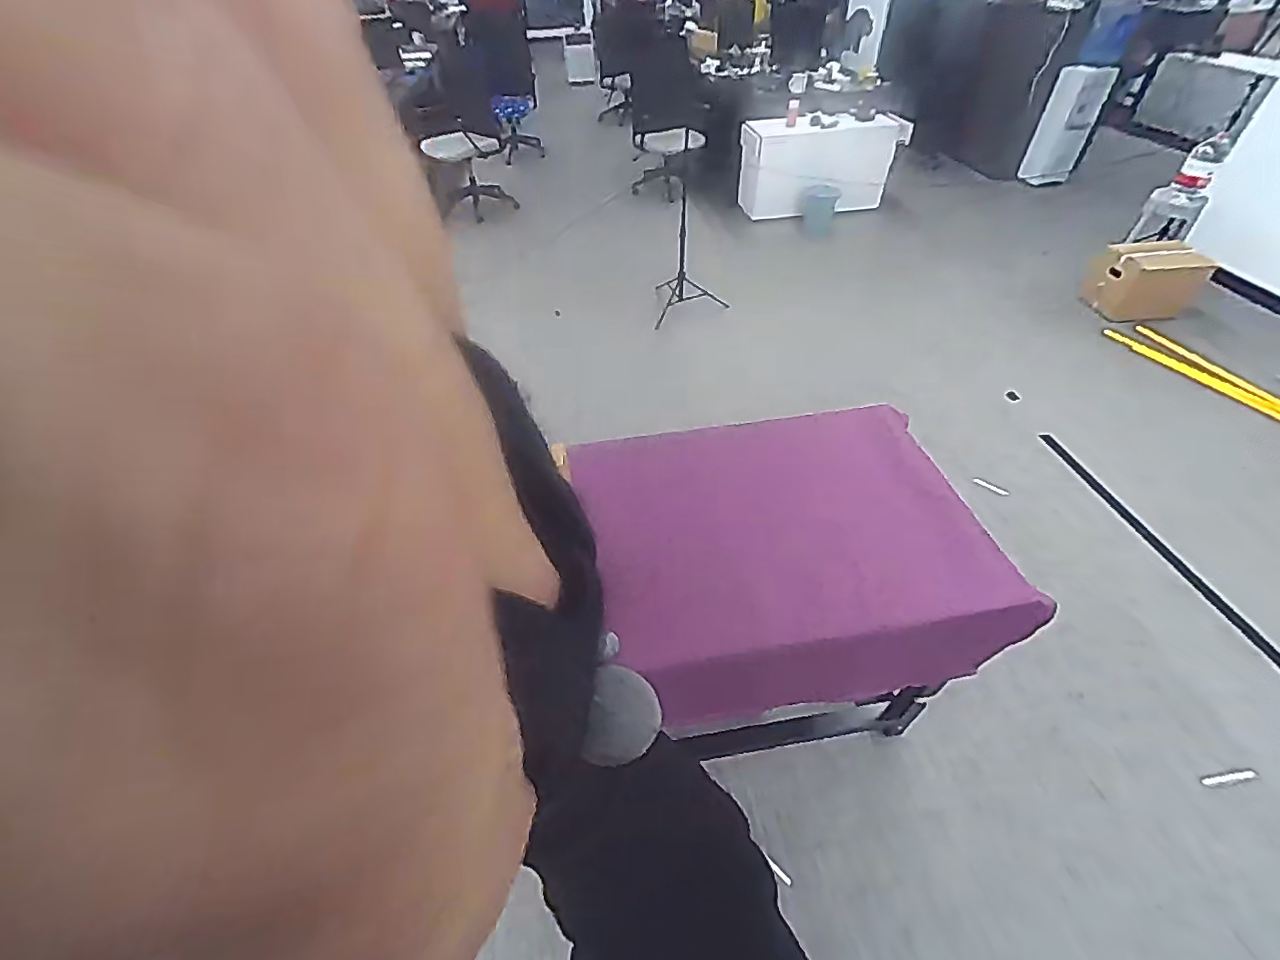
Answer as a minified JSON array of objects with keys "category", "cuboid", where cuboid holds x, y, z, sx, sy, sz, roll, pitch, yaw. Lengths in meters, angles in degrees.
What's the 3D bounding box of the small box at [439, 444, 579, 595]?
[{"category":"small box","cuboid":[-0.196,0.066,0.855,0.179,0.176,0.168,-7,46,-3]}]
